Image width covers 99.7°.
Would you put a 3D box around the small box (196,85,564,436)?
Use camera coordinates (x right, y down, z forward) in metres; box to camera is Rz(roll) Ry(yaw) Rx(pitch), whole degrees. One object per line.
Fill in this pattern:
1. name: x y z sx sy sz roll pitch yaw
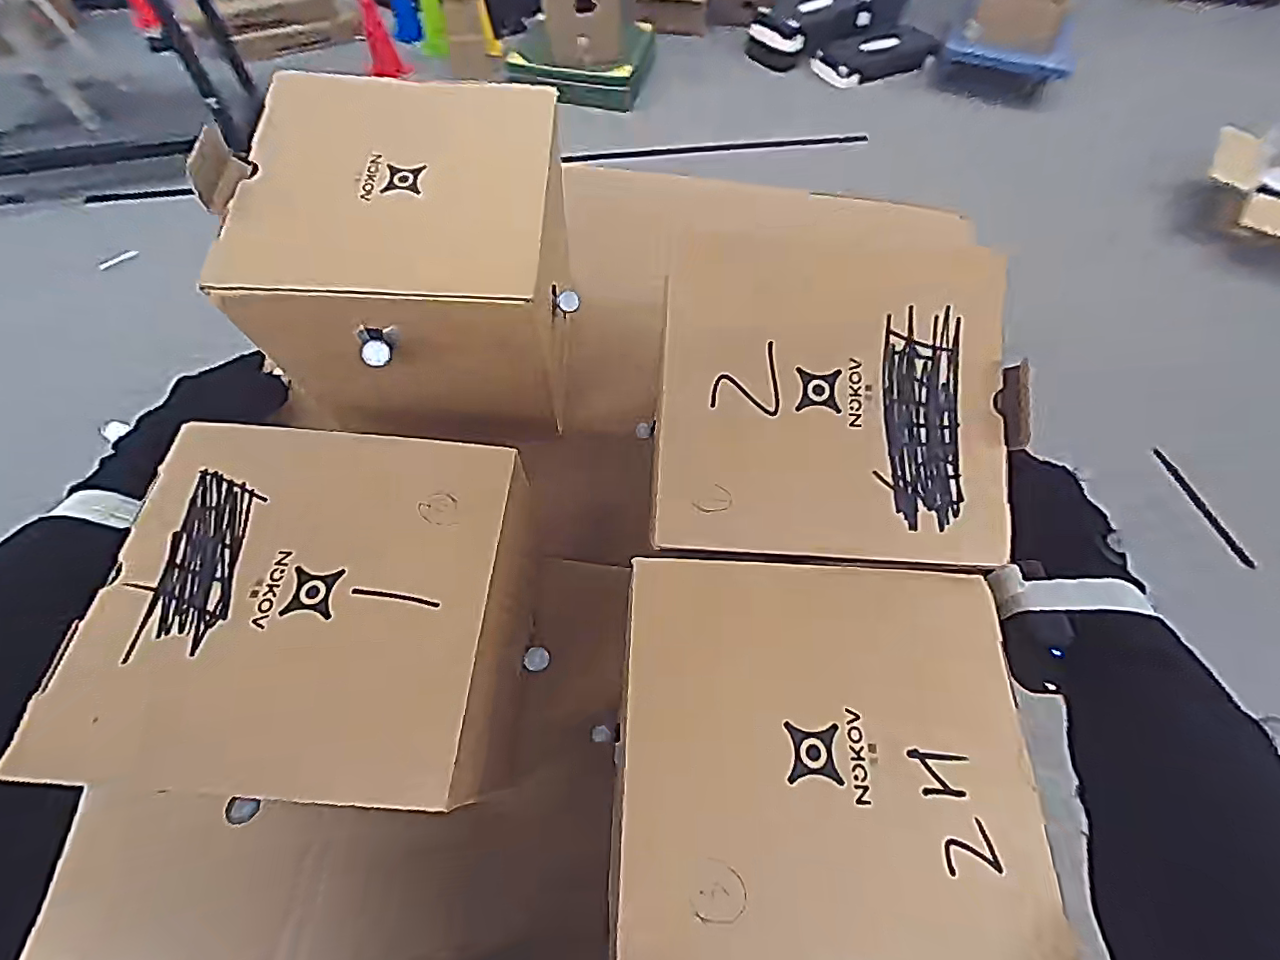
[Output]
1. small box: -0.151 -0.141 0.391 0.179 0.176 0.168 1 68 -1
